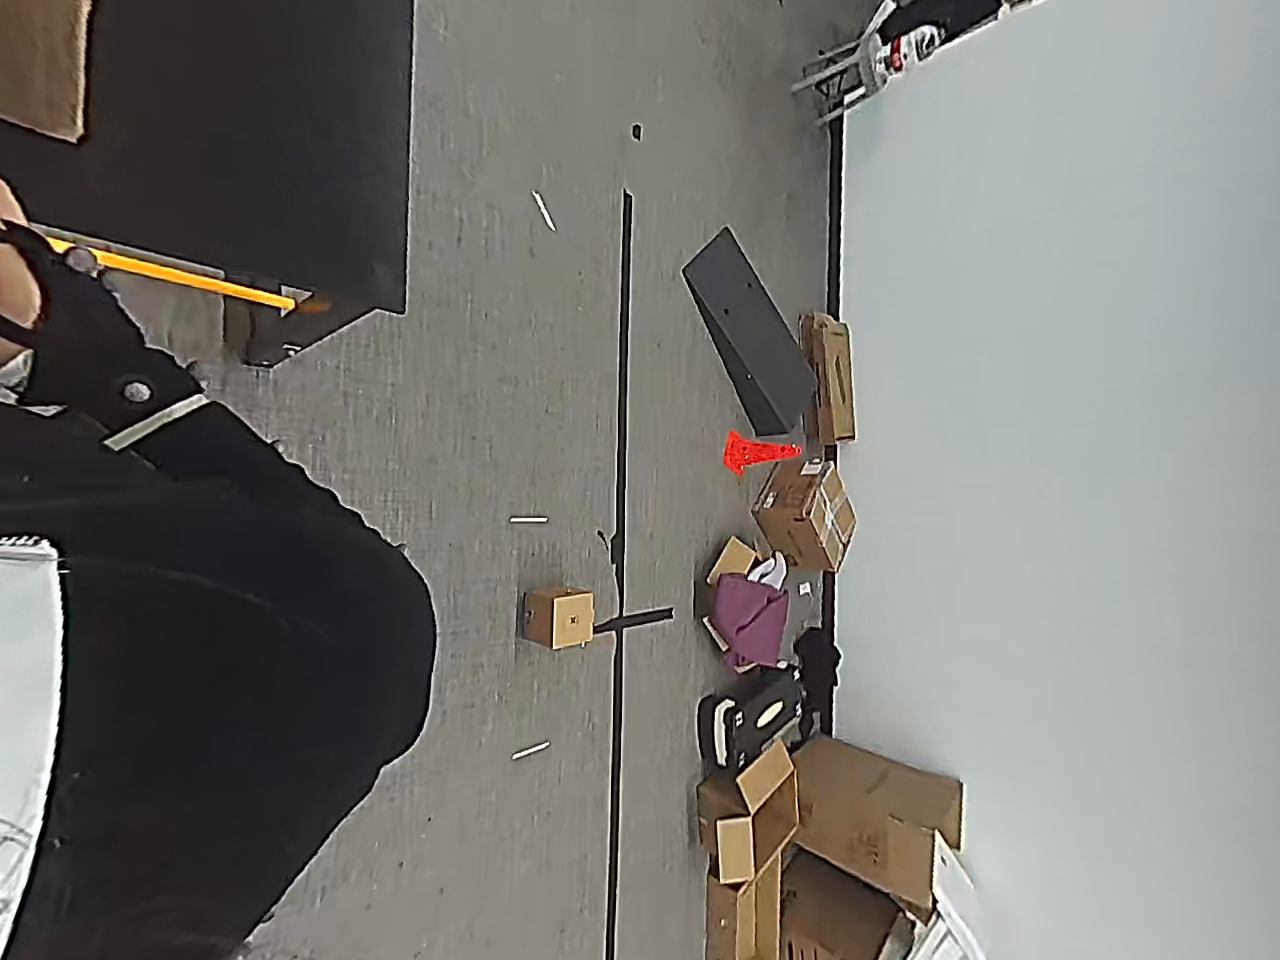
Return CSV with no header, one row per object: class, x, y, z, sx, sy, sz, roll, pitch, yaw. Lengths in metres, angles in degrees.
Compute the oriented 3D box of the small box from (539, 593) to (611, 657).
small box,-0.220,0.482,1.829,0.179,0.176,0.168,1,89,-46
